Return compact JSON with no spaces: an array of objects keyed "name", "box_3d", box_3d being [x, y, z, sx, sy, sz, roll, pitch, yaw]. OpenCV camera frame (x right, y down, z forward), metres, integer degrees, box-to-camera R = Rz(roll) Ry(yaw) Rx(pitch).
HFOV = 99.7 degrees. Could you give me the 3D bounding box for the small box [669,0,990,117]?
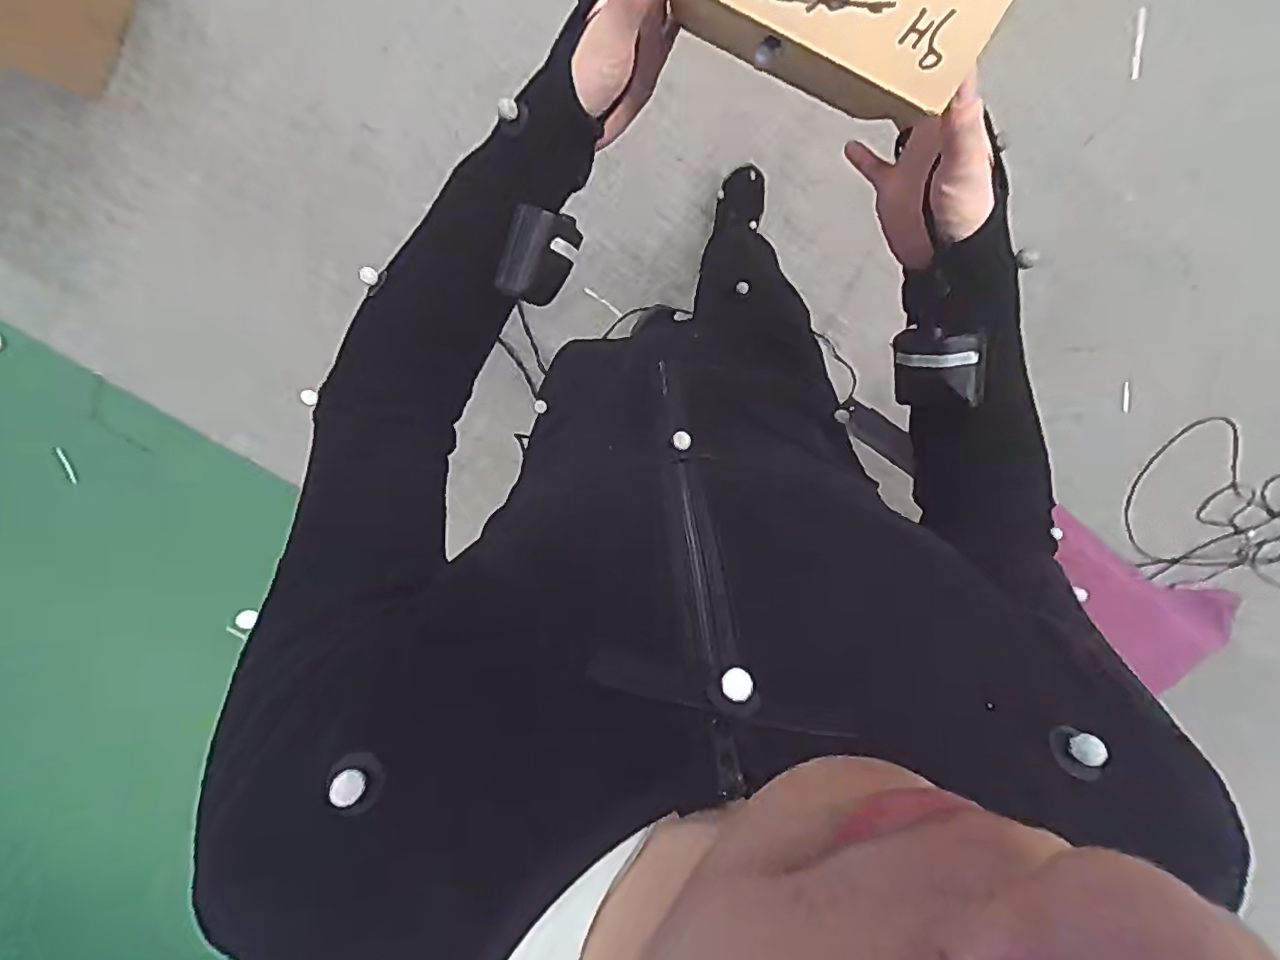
[{"name":"small box","box_3d":[0.117,-0.335,0.304,0.168,0.176,0.179,21,122,-7]}]
